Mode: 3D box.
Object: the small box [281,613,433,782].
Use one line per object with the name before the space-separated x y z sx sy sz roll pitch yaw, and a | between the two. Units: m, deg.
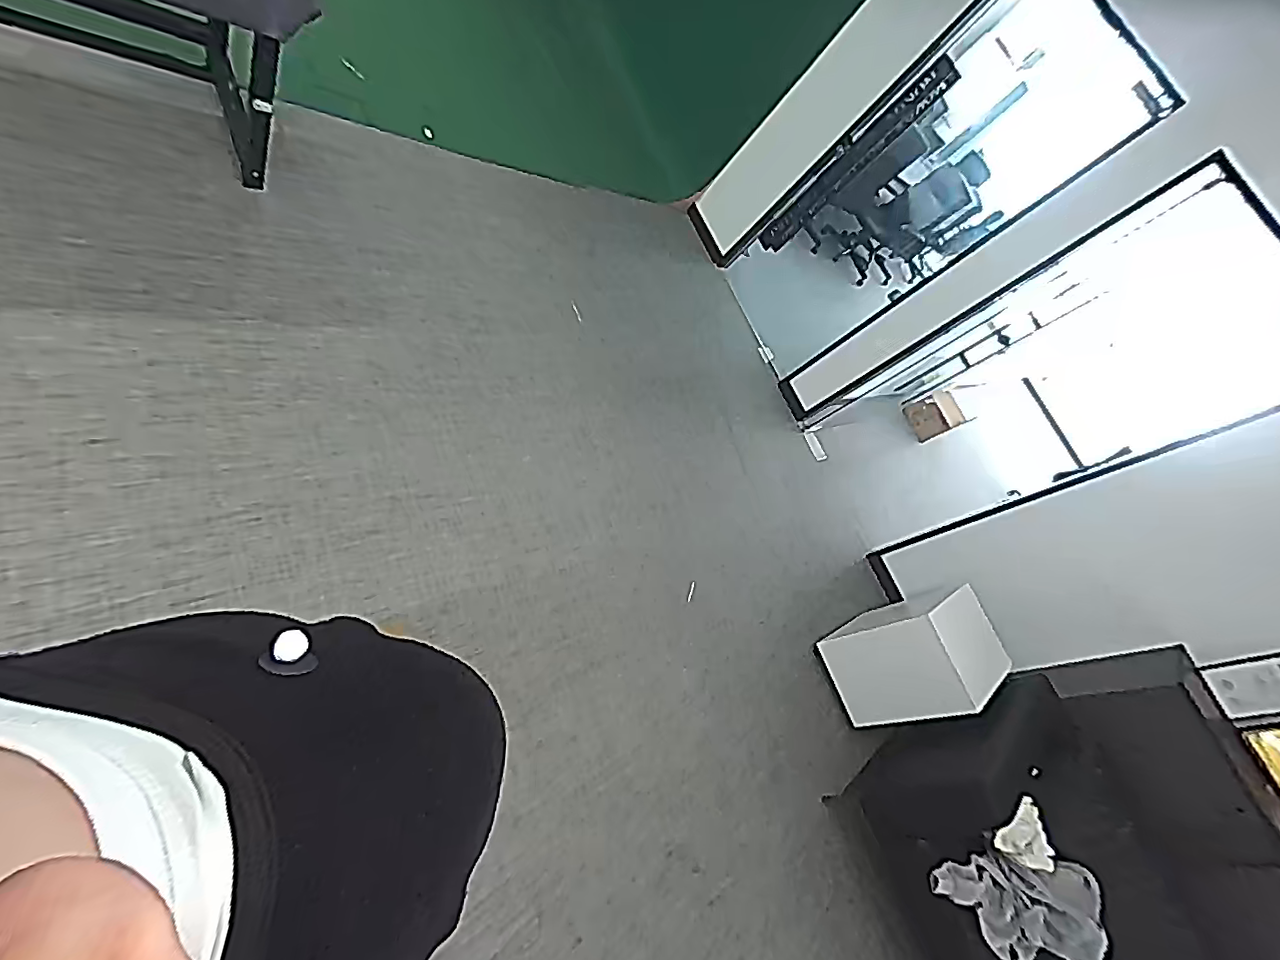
small box | -0.453 0.346 0.873 0.168 0.179 0.176 -17 108 -37
